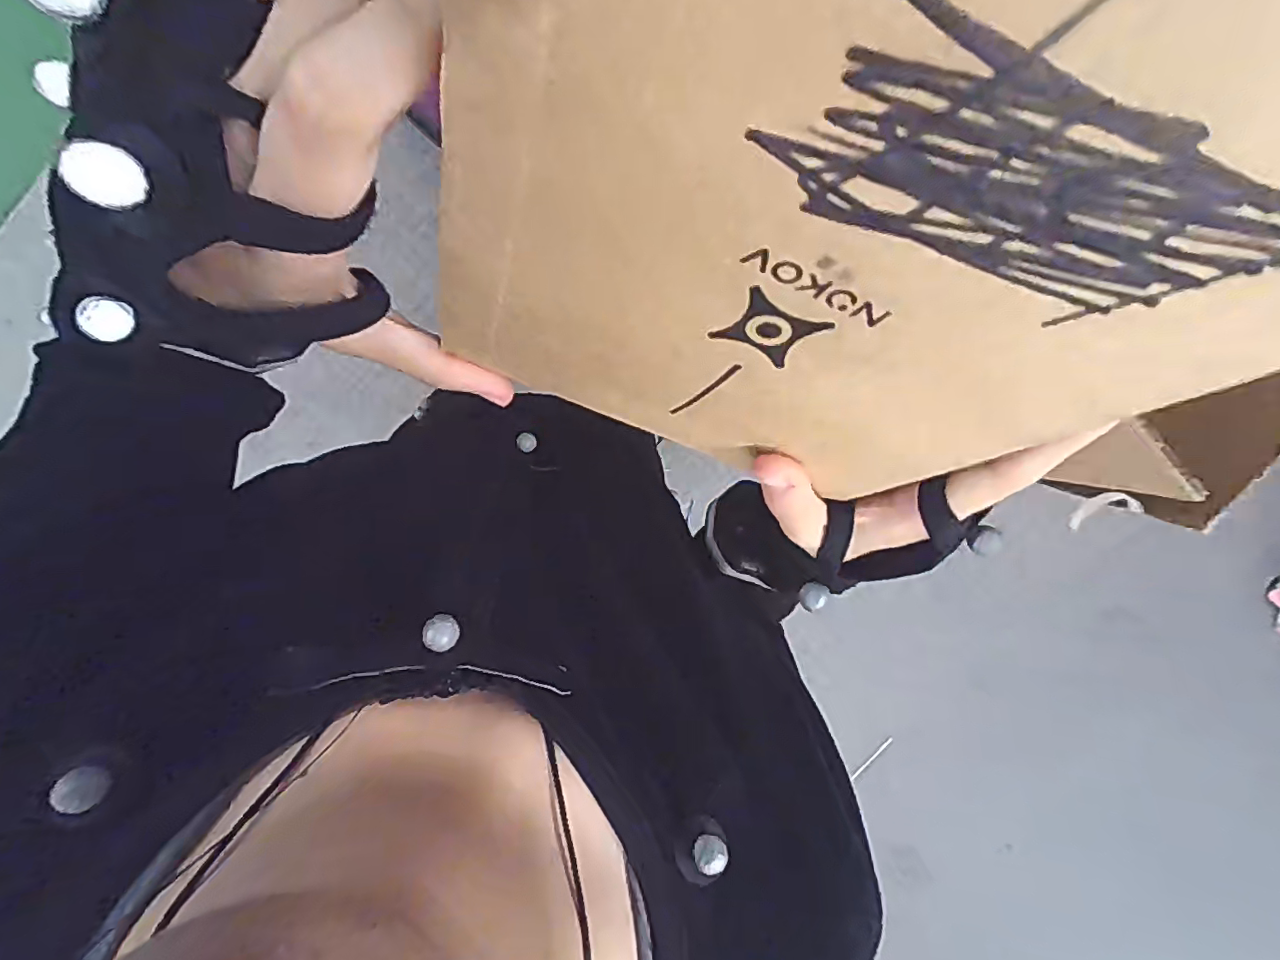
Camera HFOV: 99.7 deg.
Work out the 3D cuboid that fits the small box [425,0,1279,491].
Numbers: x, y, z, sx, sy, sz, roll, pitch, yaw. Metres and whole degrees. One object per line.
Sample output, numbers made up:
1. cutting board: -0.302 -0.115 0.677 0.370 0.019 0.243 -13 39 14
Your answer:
1. small box: 0.049 -0.117 0.159 0.168 0.179 0.176 20 70 -15
